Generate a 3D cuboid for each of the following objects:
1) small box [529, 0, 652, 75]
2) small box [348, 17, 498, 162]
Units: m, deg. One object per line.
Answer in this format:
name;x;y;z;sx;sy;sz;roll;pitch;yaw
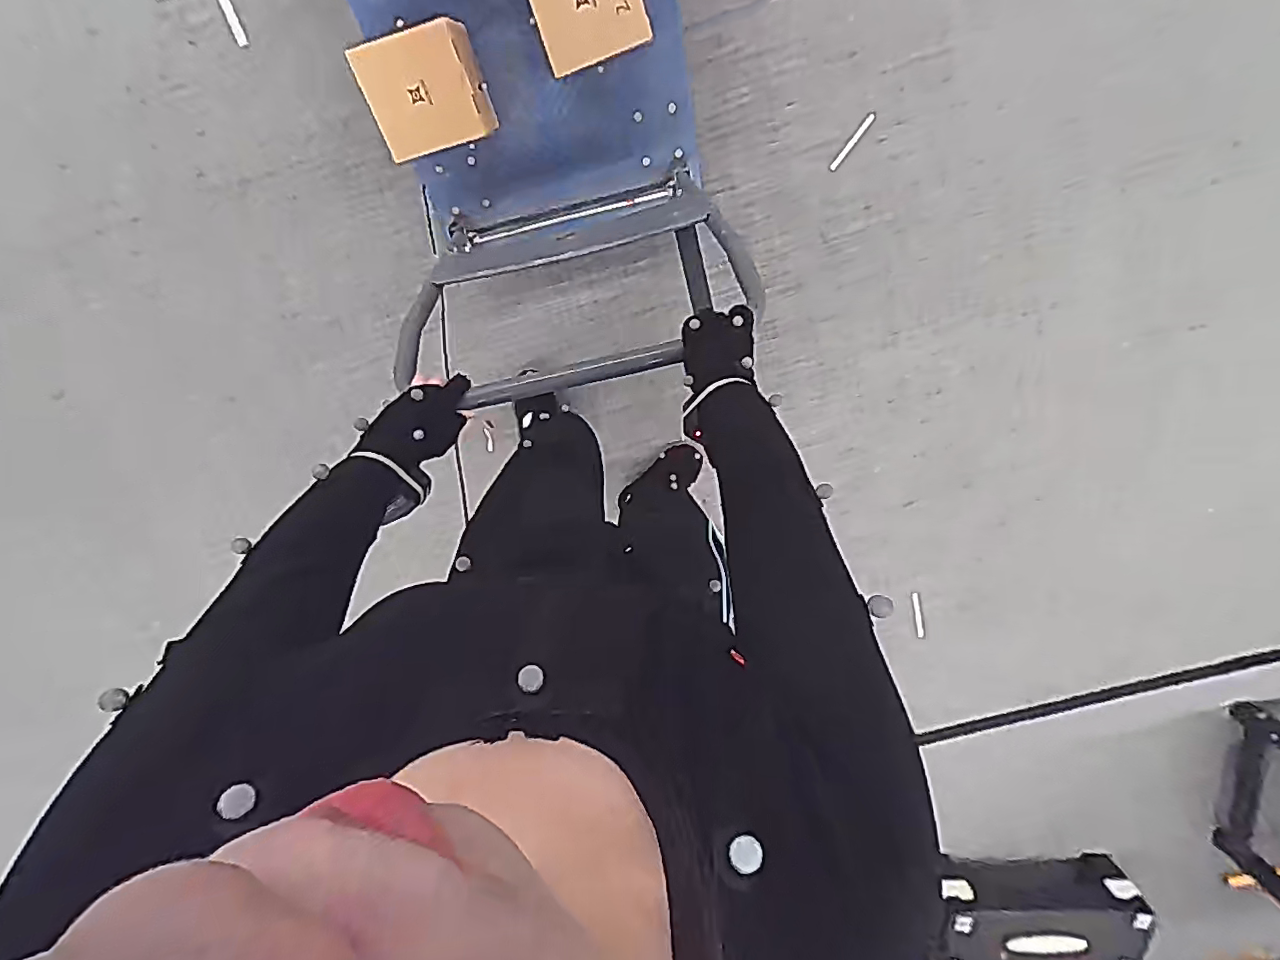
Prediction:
small box;-0.089;-0.807;0.910;0.179;0.176;0.168;-17;127;8
small box;-0.374;-0.694;0.971;0.179;0.176;0.168;-16;127;5
